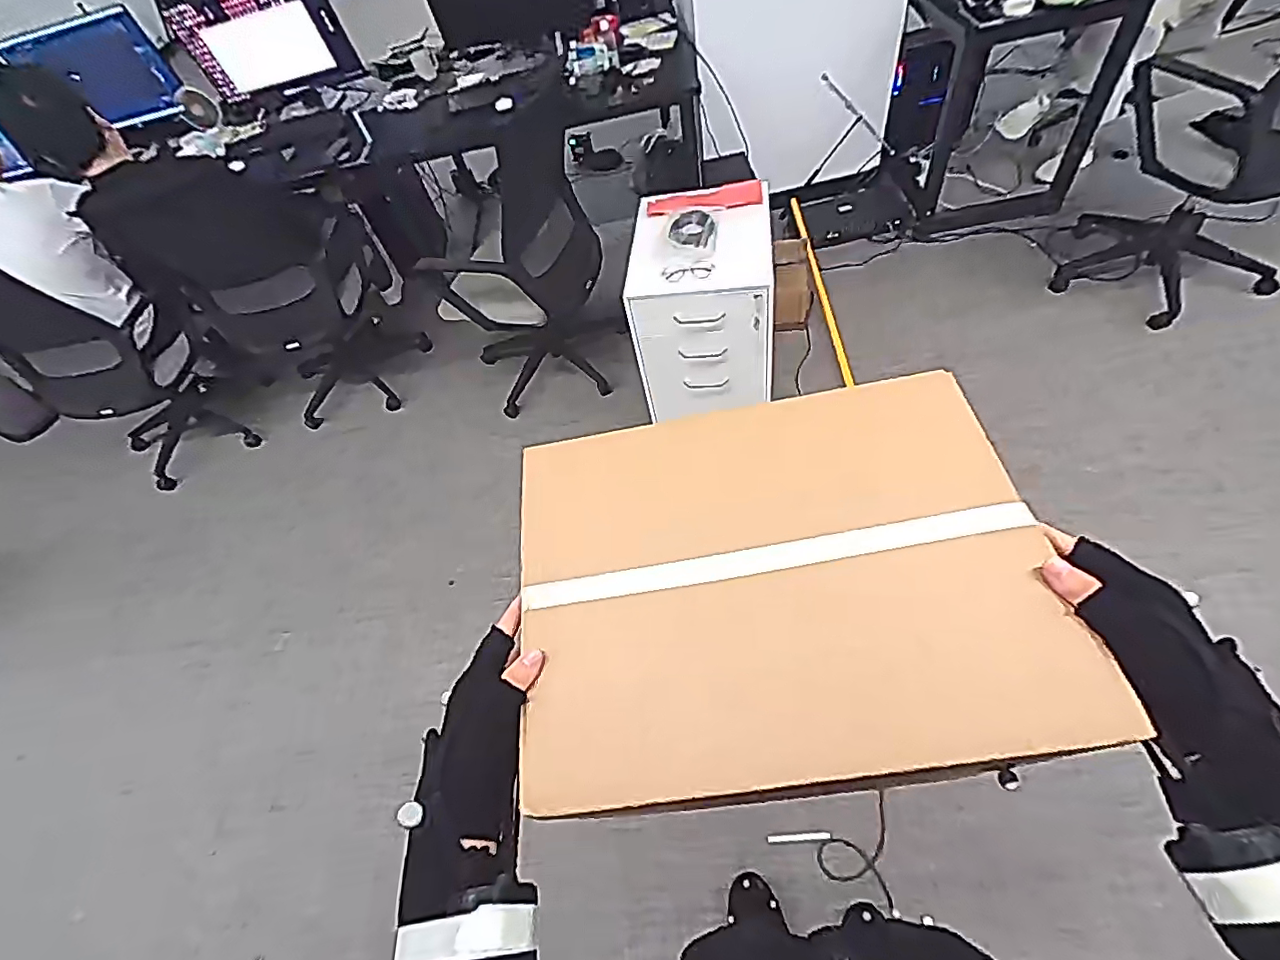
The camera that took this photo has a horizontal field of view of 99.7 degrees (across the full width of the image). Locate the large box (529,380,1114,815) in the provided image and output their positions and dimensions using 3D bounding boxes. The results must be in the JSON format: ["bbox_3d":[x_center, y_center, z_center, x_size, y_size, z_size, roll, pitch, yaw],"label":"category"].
[{"bbox_3d":[0.127,0.145,0.570,0.408,0.320,0.320,-11,57,5],"label":"large box"}]
